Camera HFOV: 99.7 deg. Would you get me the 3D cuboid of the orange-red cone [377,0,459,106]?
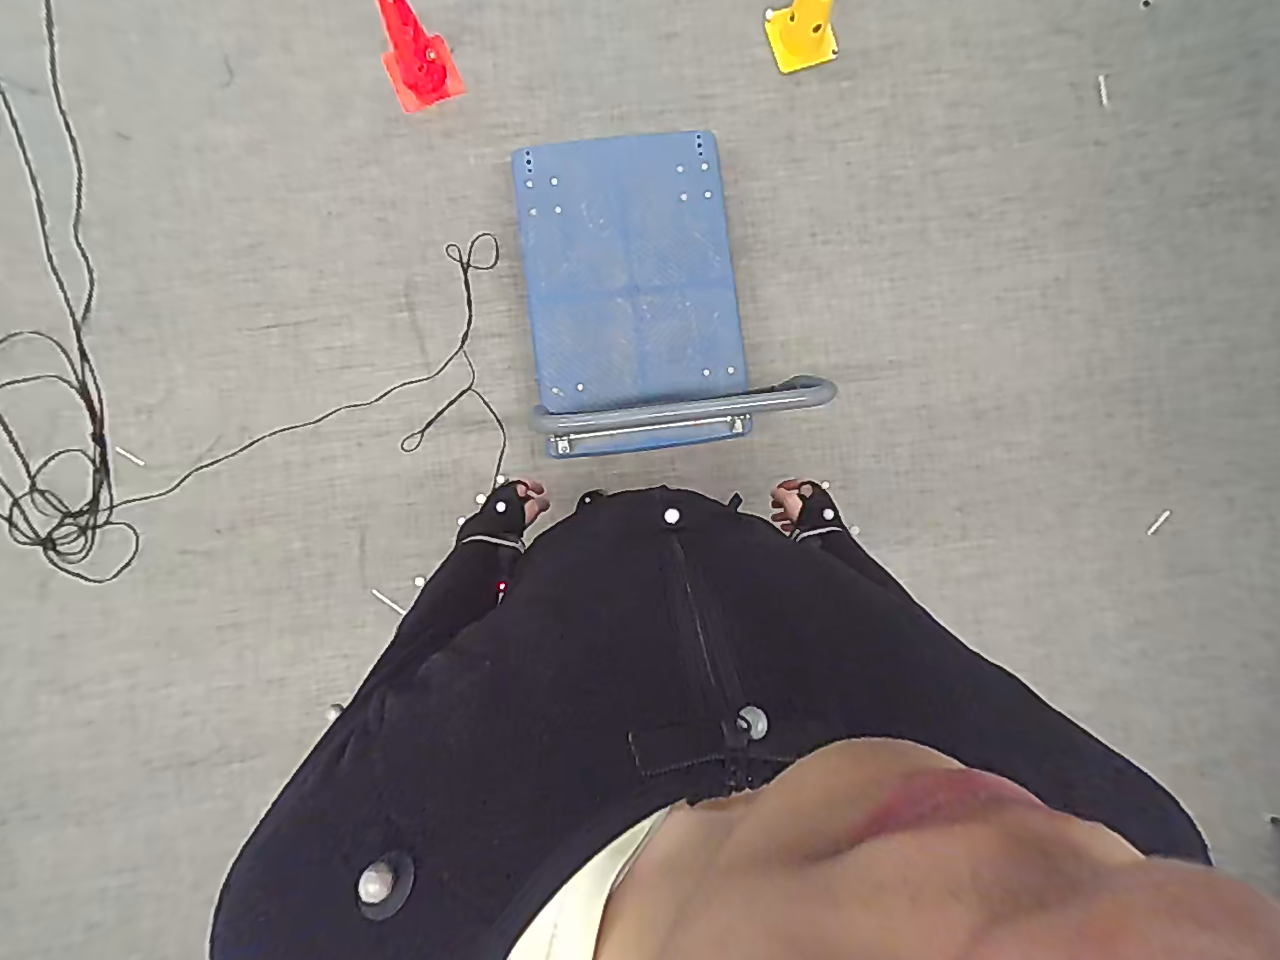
[{"bbox_3d":[-0.664,-1.258,1.476,0.199,0.360,0.198,-22,89,-2],"label":"orange-red cone"}]
